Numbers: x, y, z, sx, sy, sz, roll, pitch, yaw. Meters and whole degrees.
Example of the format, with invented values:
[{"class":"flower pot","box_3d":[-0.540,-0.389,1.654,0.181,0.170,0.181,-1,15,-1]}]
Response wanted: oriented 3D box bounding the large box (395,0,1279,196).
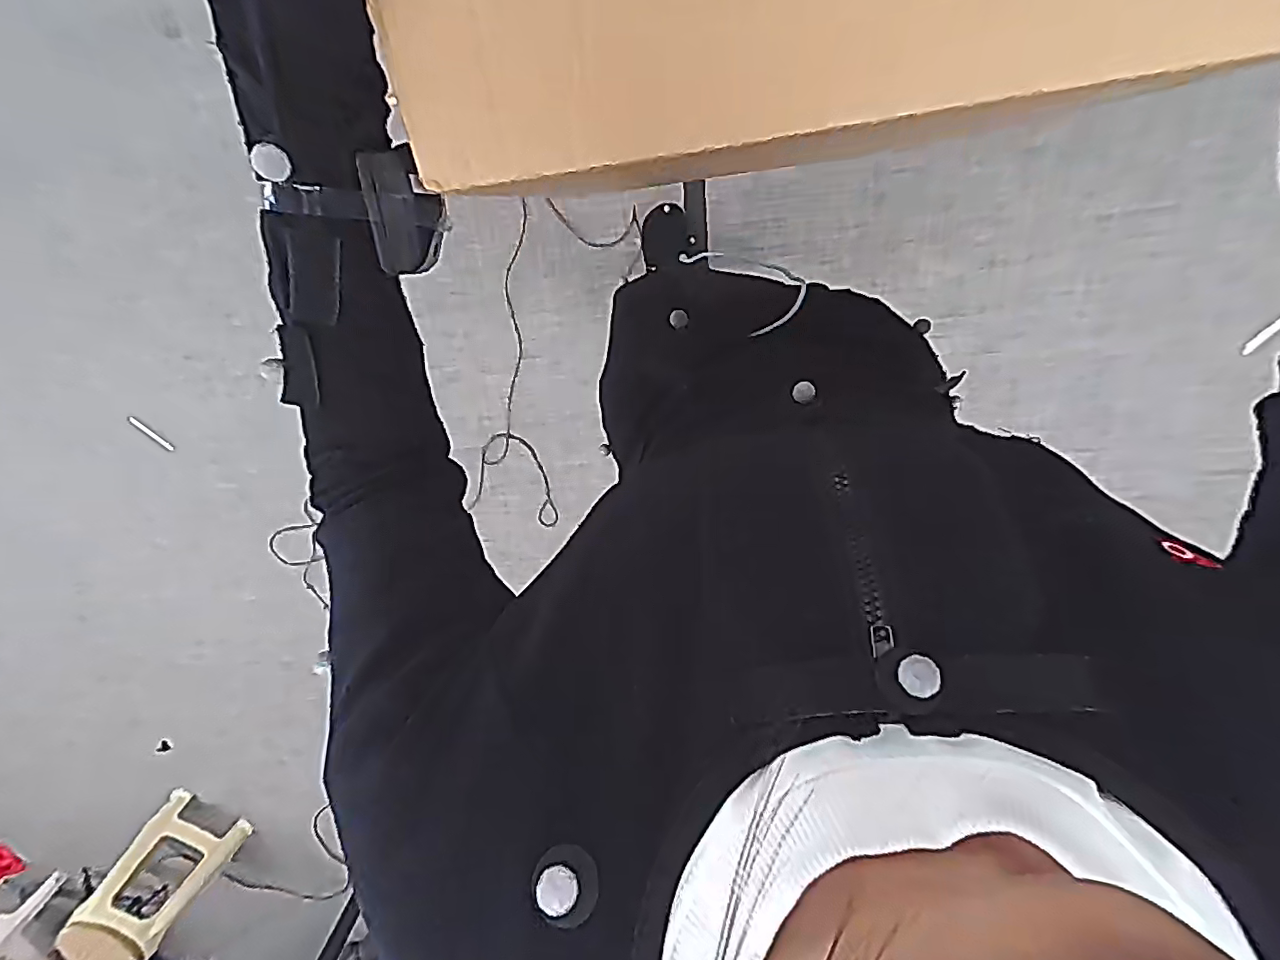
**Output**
[{"class":"large box","box_3d":[0.082,-0.375,0.319,0.408,0.320,0.320,-5,117,8]}]
